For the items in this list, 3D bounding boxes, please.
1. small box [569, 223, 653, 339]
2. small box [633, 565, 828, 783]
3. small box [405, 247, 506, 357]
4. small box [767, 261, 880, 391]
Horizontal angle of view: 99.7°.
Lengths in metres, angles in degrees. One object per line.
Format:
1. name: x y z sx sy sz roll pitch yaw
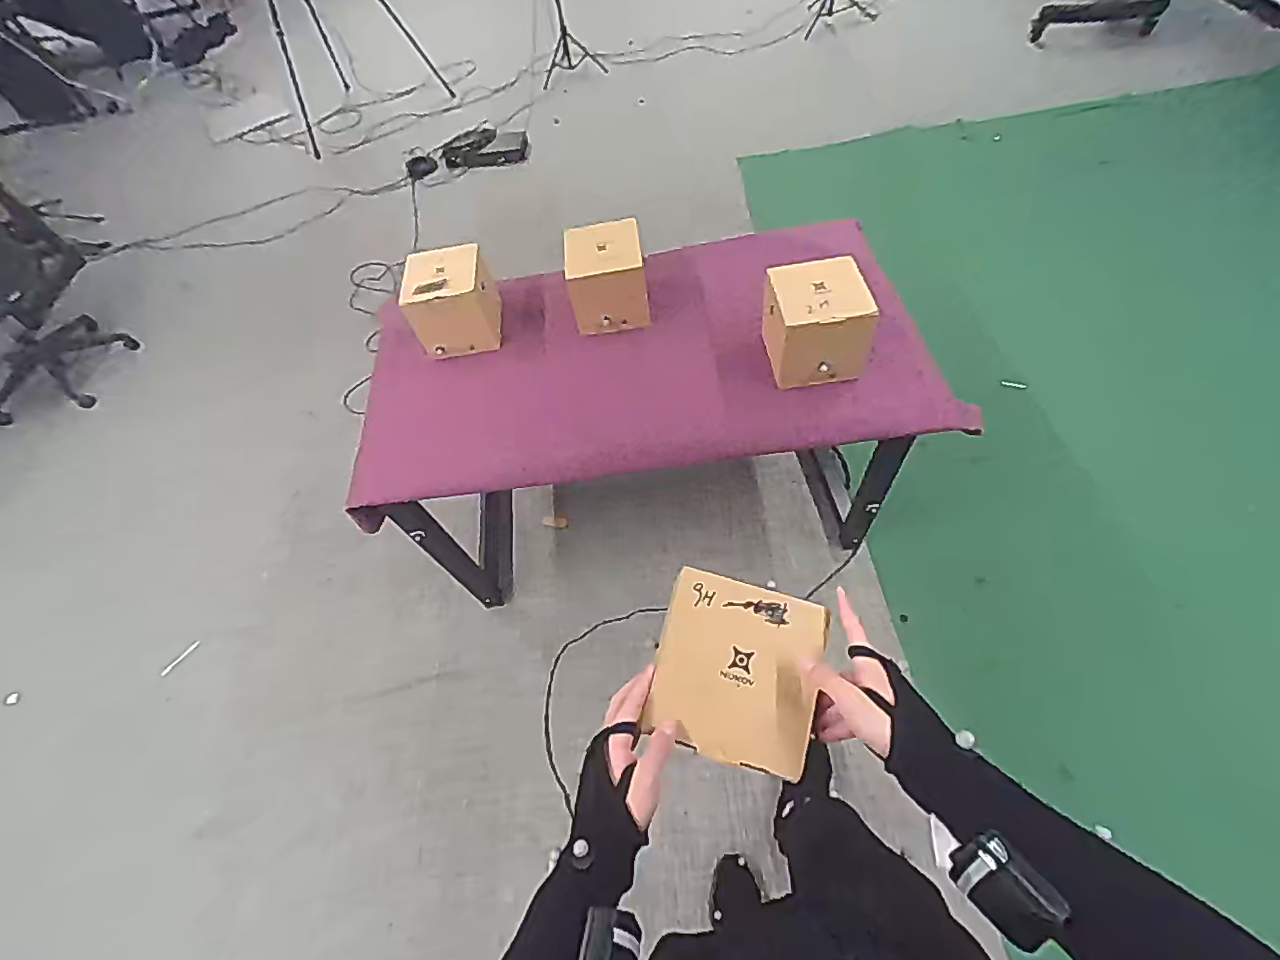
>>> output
1. small box: -0.064 -0.451 1.237 0.168 0.176 0.179 -8 58 4
2. small box: 0.098 0.216 0.632 0.168 0.176 0.179 17 75 6
3. small box: -0.418 -0.404 1.256 0.168 0.176 0.179 -9 57 2
4. small box: 0.351 -0.302 1.076 0.168 0.176 0.179 -7 56 5
